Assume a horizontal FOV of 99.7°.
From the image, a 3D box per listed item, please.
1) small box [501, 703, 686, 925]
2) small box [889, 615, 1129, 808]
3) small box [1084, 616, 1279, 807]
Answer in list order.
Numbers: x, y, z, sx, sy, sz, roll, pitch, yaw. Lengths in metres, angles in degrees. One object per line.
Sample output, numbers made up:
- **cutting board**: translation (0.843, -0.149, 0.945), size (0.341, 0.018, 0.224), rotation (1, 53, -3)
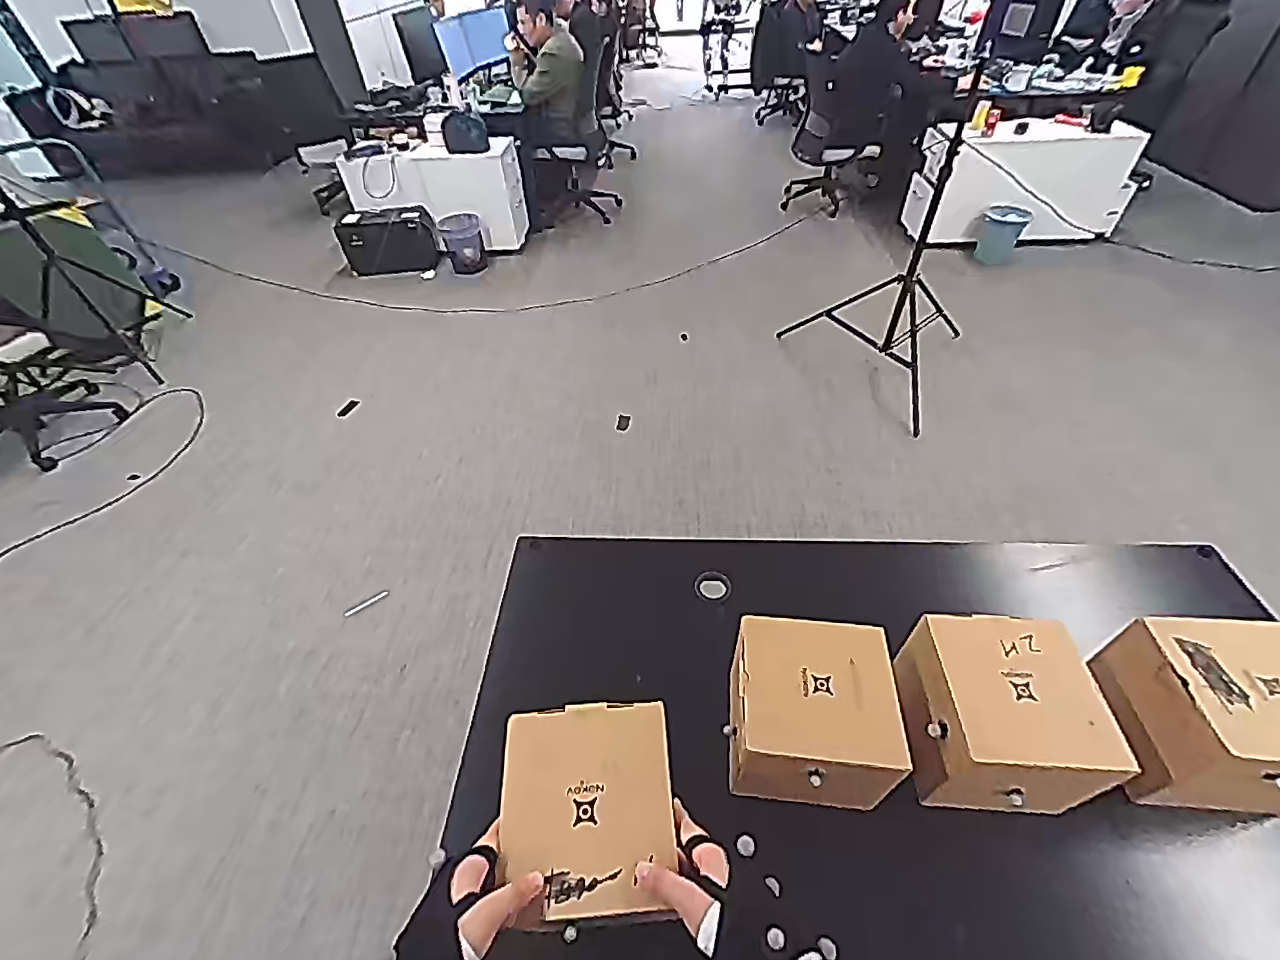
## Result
- **small box**: translation (-0.041, 0.364, 0.588), size (0.168, 0.176, 0.179), rotation (-5, 49, 1)
- **small box**: translation (0.436, 0.291, 0.678), size (0.168, 0.176, 0.179), rotation (1, 45, 5)
- **small box**: translation (0.697, 0.286, 0.666), size (0.179, 0.176, 0.168), rotation (2, 45, 5)
